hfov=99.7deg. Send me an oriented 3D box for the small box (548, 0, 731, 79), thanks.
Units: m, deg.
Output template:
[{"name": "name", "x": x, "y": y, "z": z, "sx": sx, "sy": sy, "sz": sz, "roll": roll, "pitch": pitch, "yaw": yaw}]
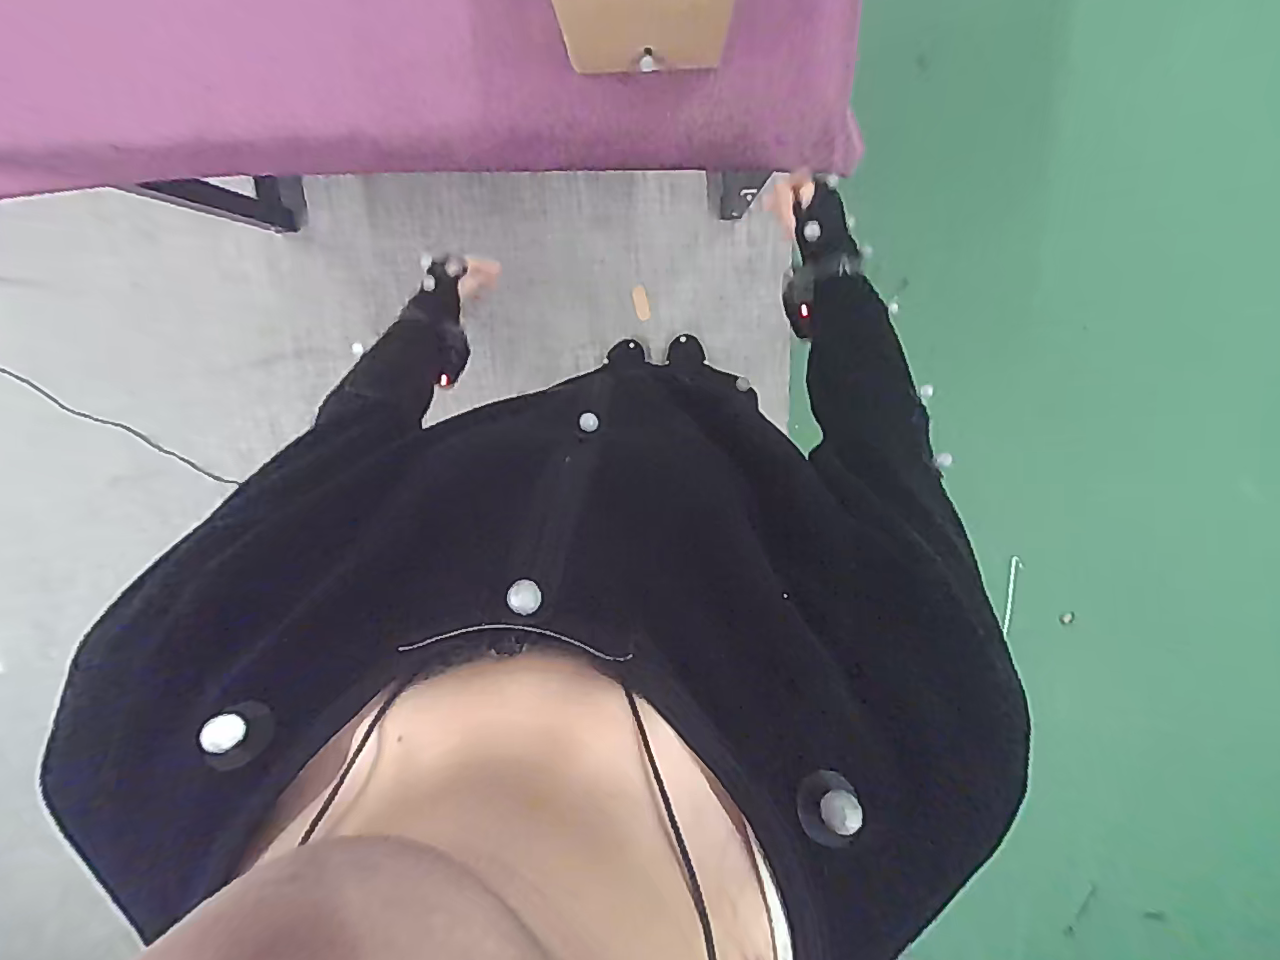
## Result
[{"name": "small box", "x": 0.000, "y": -0.541, "z": 0.549, "sx": 0.179, "sy": 0.176, "sz": 0.168, "roll": -1, "pitch": 102, "yaw": 2}]
